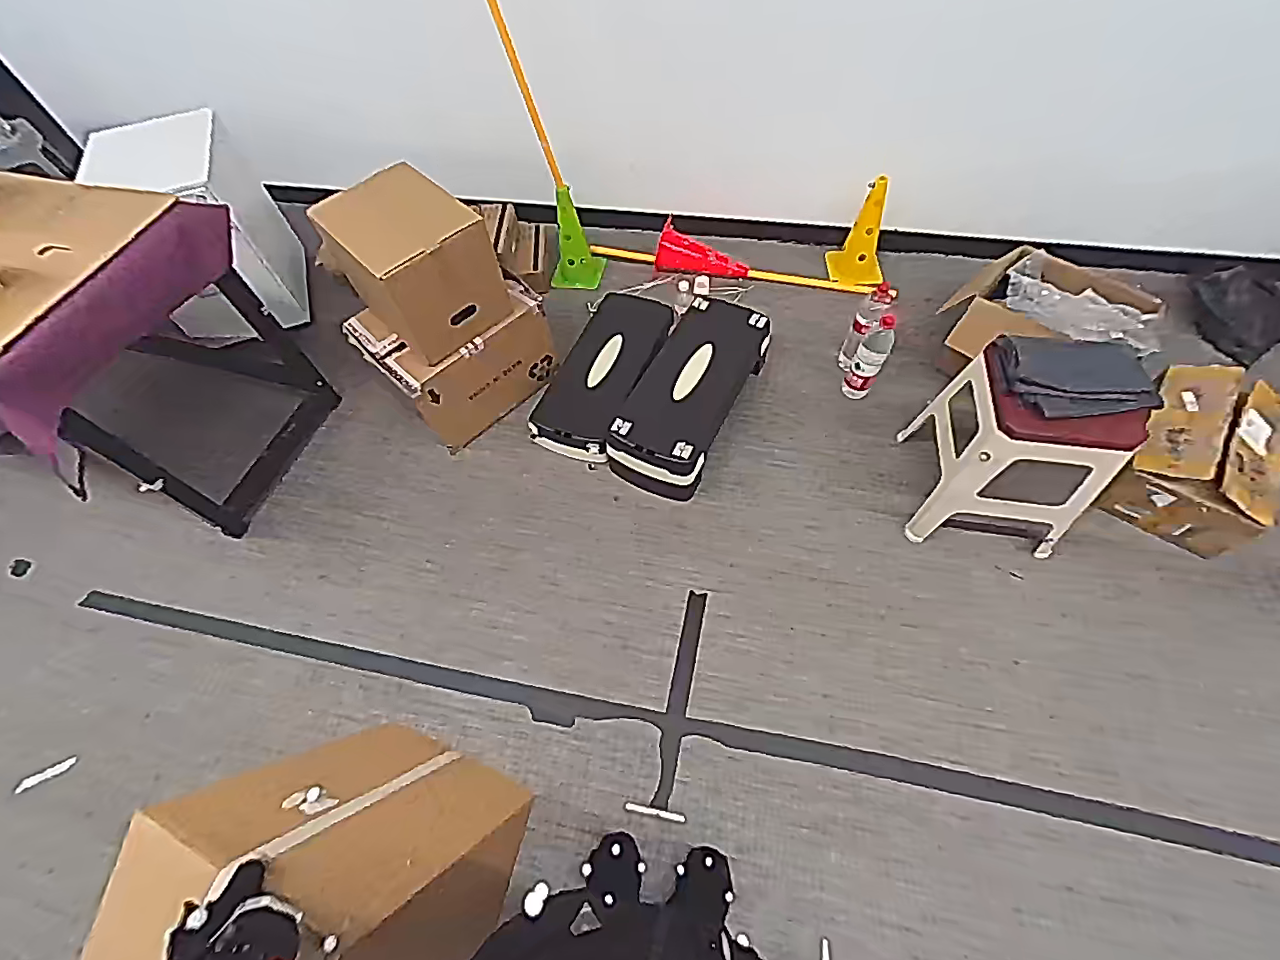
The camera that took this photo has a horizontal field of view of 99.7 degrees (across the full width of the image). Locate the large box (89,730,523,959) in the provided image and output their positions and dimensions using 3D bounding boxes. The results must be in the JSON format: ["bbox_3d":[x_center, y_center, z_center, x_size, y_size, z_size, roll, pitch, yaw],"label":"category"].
[{"bbox_3d":[-0.425,0.606,0.740,0.320,0.408,0.320,14,85,19],"label":"large box"}]
